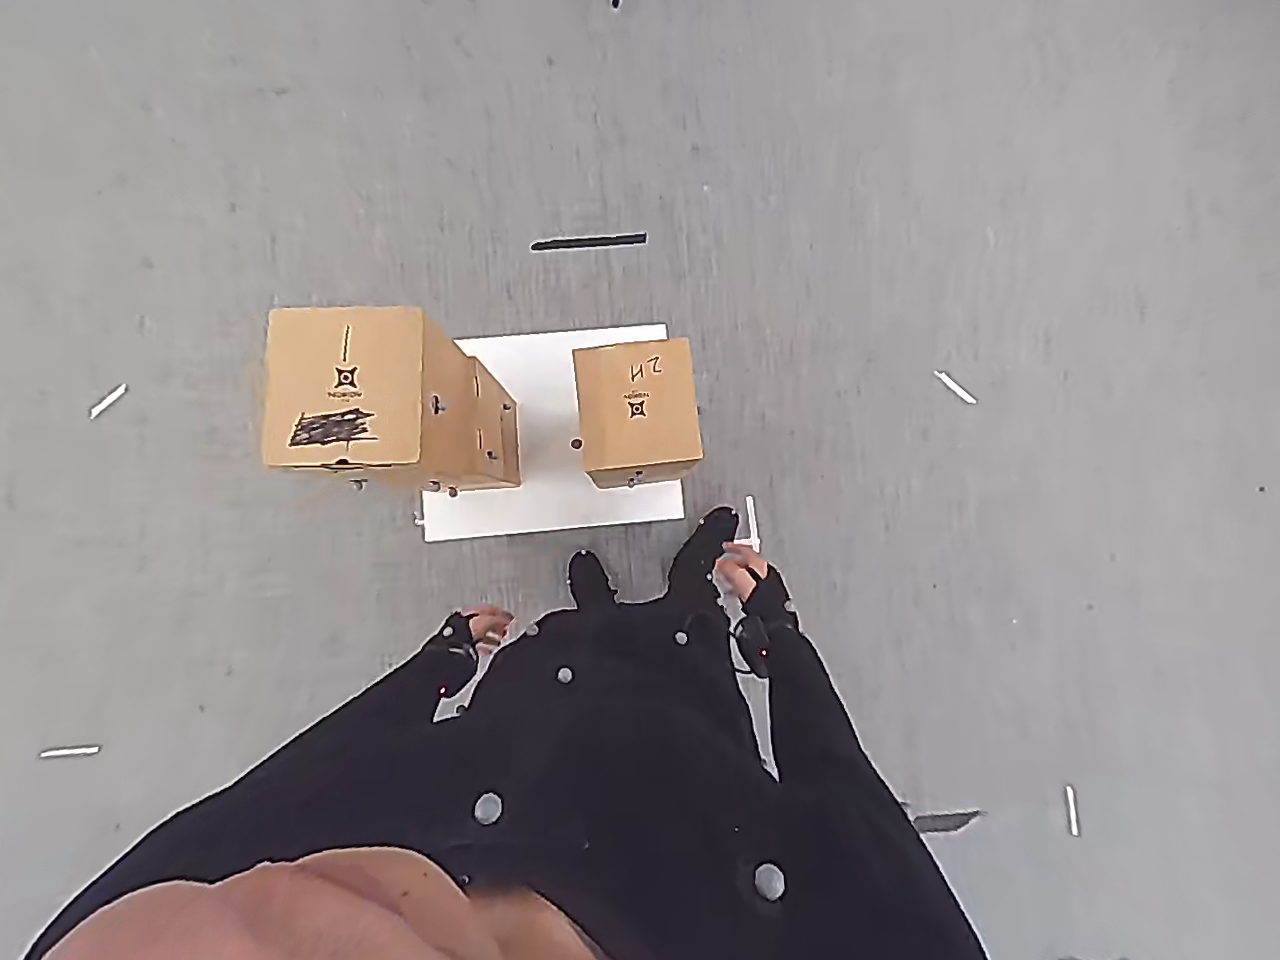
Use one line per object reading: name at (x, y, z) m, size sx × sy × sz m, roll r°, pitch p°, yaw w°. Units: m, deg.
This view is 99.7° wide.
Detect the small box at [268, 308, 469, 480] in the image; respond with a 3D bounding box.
small box at (-0.311, -0.092, 0.654) m, size 0.168 × 0.176 × 0.179 m, roll -1°, pitch 84°, yaw -2°

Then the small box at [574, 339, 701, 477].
small box at (-0.003, -0.099, 0.827) m, size 0.168 × 0.176 × 0.179 m, roll -6°, pitch 86°, yaw -1°

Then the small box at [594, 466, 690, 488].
small box at (-0.007, -0.085, 0.992) m, size 0.168 × 0.176 × 0.179 m, roll -7°, pitch 85°, yaw -1°

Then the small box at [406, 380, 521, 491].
small box at (-0.315, -0.071, 0.983) m, size 0.168 × 0.176 × 0.179 m, roll -4°, pitch 85°, yaw -3°
